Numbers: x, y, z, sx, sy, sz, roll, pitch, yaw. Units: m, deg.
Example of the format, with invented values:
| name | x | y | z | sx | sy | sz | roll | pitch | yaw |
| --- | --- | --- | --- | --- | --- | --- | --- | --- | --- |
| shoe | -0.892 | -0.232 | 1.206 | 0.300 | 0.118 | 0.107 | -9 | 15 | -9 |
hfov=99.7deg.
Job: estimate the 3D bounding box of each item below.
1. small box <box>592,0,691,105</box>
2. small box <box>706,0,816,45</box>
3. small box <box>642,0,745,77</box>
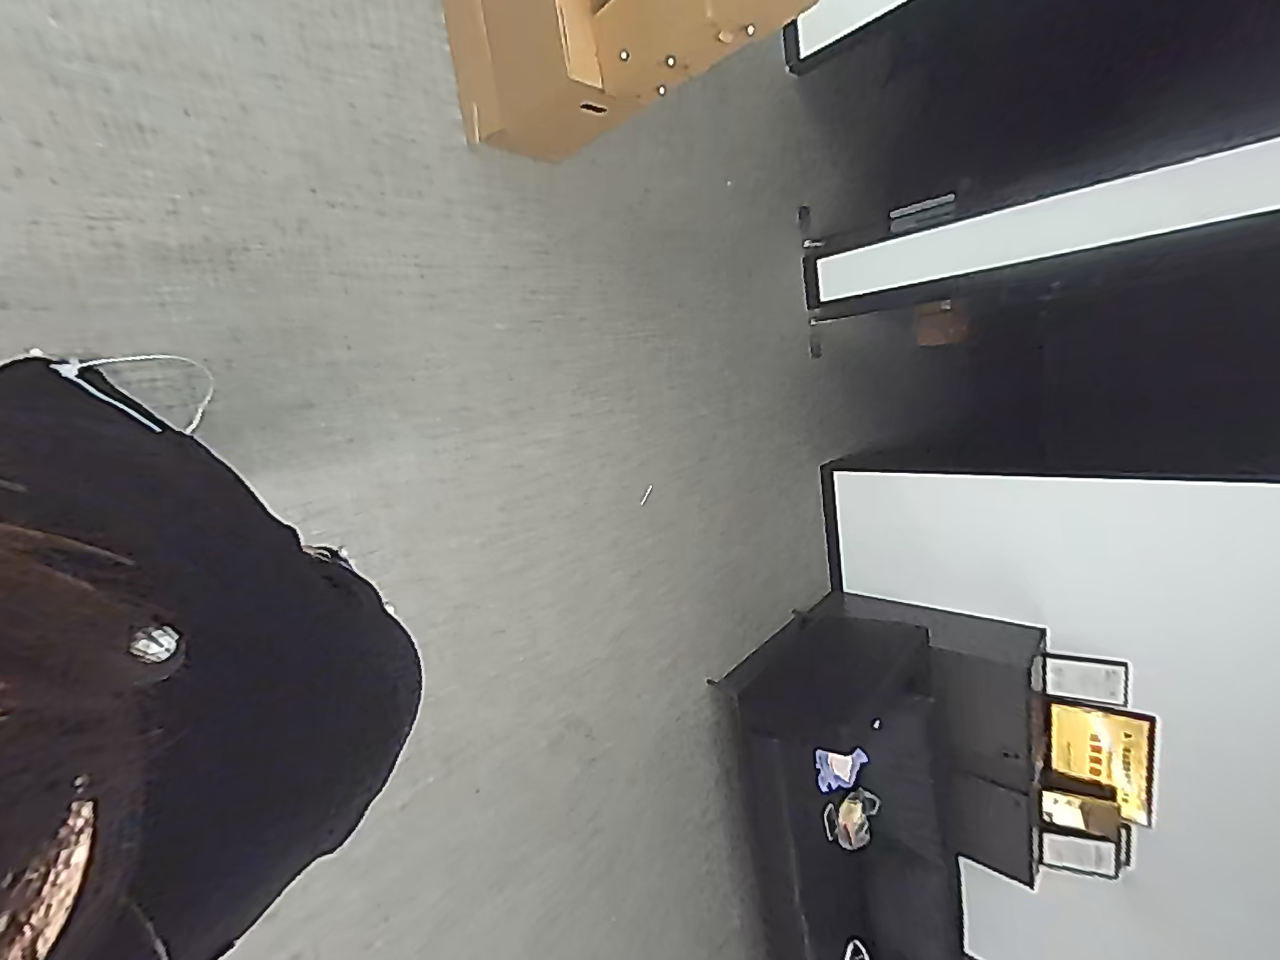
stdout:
| name | x | y | z | sx | sy | sz | roll | pitch | yaw |
| --- | --- | --- | --- | --- | --- | --- | --- | --- | --- |
| small box | 0.004 | -1.083 | 1.359 | 0.168 | 0.176 | 0.179 | -22 | 107 | -44 |
| small box | 0.250 | -1.067 | 1.142 | 0.179 | 0.176 | 0.168 | -24 | 108 | -44 |
| small box | 0.122 | -1.076 | 1.245 | 0.168 | 0.176 | 0.179 | -21 | 105 | -44 |
